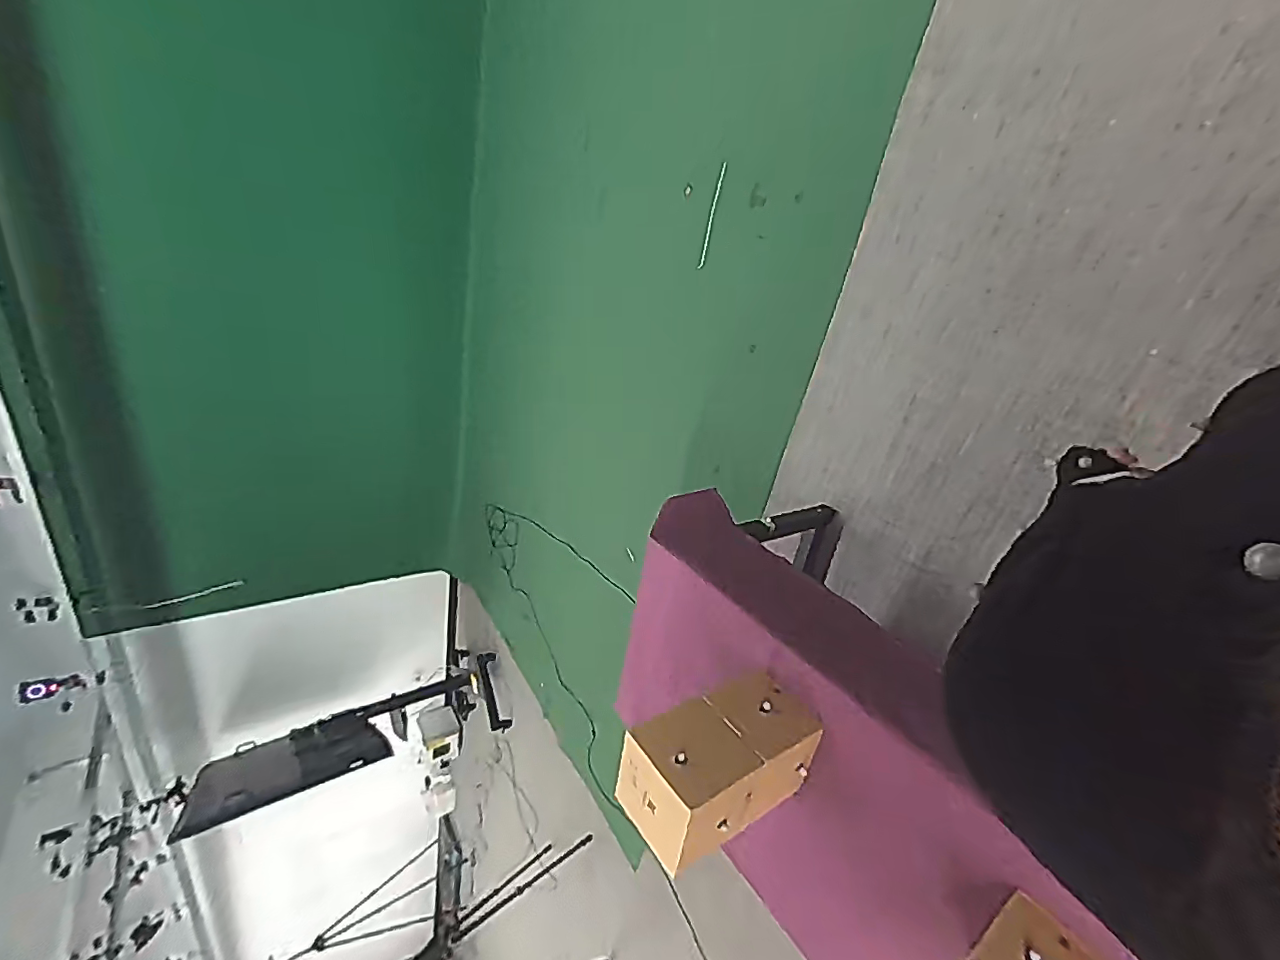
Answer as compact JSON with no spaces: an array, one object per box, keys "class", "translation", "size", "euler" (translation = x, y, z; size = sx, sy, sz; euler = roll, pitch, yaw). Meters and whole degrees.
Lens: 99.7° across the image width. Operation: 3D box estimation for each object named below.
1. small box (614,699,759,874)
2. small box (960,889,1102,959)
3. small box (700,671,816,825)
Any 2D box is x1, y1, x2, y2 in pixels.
[{"class":"small box","translation":[0.080,0.520,0.944],"size":[0.179,0.176,0.168],"euler":[34,123,45]},{"class":"small box","translation":[0.502,0.684,0.691],"size":[0.168,0.176,0.179],"euler":[34,123,46]},{"class":"small box","translation":[0.212,0.503,1.042],"size":[0.168,0.176,0.179],"euler":[35,123,45]}]
